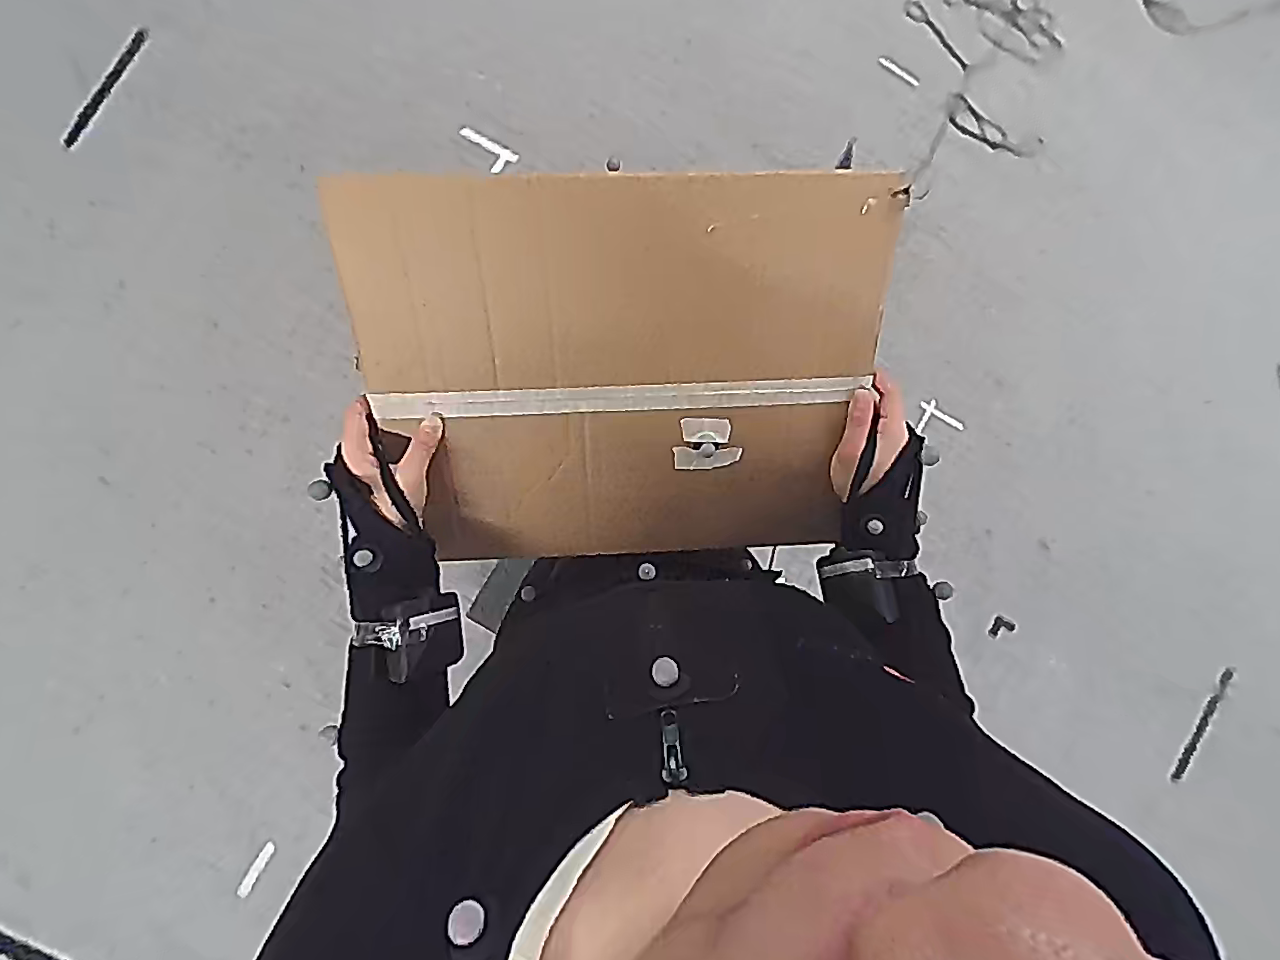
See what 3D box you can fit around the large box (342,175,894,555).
[{"bbox_3d":[-0.020,-0.144,0.584,0.408,0.320,0.320,-3,119,-4],"label":"large box"}]
